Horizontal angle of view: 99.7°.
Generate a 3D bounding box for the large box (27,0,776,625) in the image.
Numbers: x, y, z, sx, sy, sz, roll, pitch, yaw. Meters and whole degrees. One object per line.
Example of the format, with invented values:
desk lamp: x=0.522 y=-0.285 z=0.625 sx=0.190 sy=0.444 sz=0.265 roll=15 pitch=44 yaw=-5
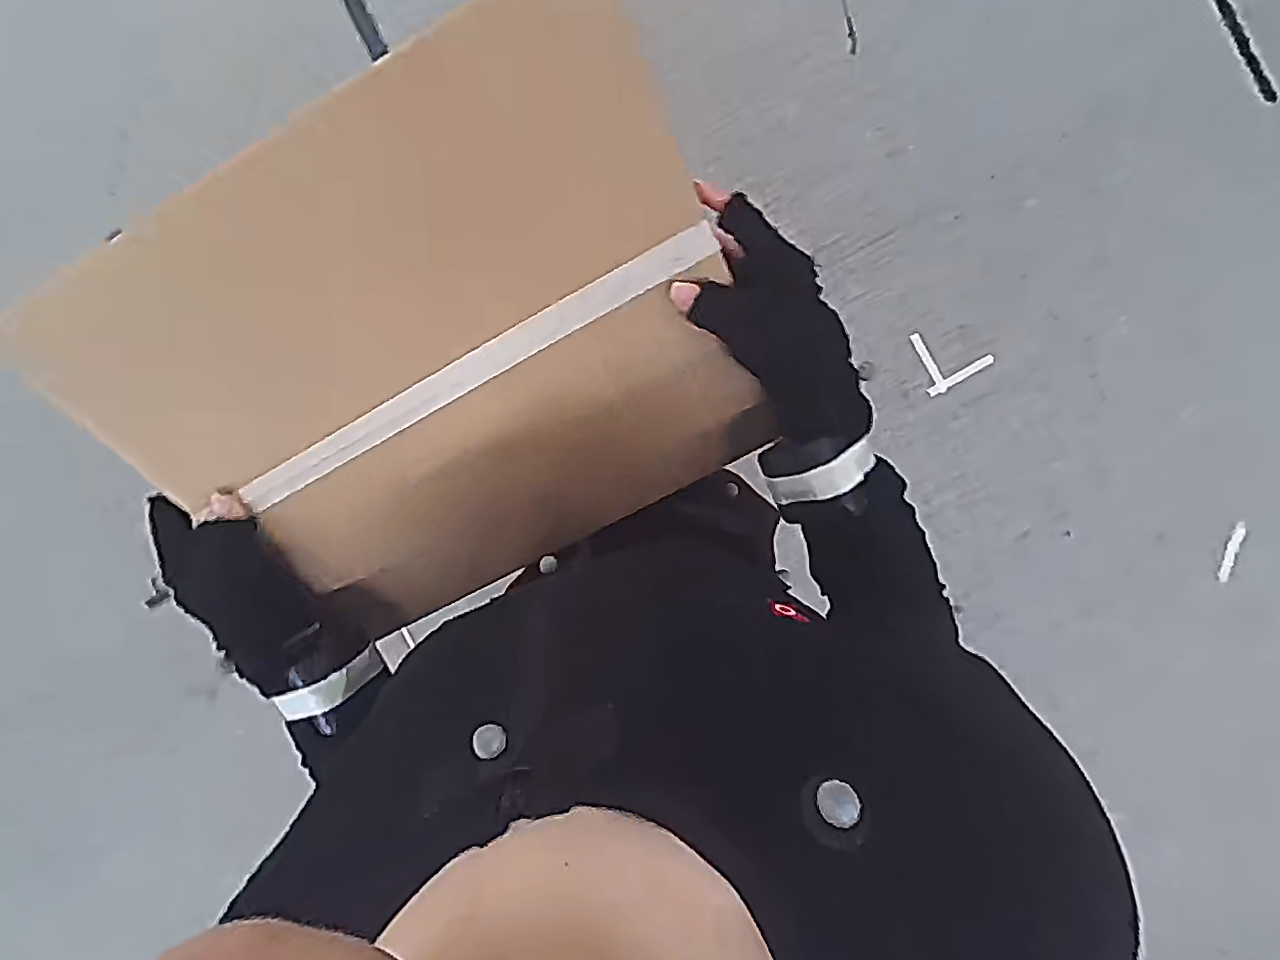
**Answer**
large box: x=-0.154 y=-0.146 z=0.501 sx=0.408 sy=0.320 sz=0.320 roll=-27 pitch=122 yaw=8
